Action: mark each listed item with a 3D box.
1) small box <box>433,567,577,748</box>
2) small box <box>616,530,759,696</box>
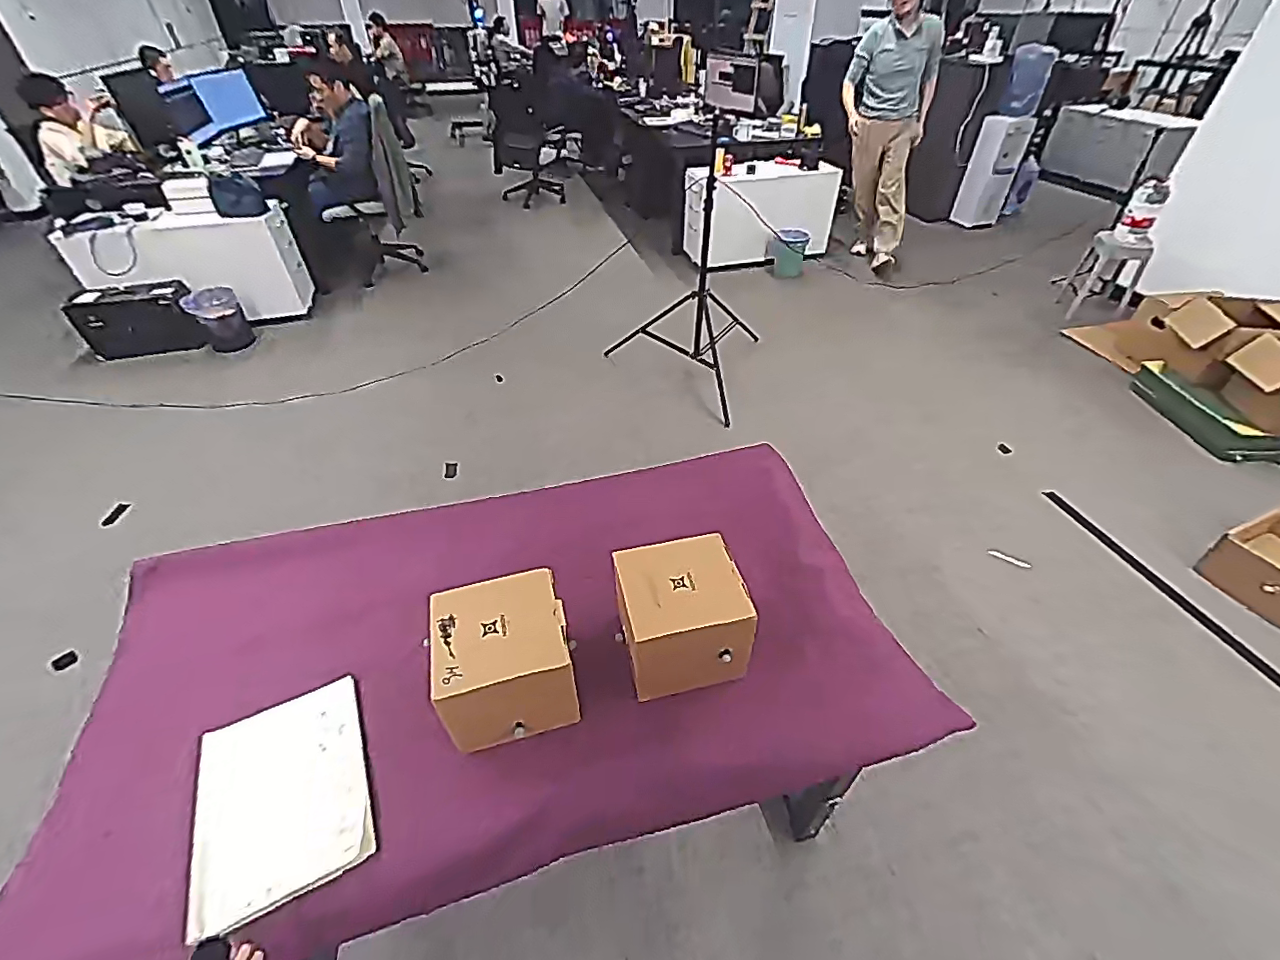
[{"bbox_3d":[-0.190,0.256,0.783,0.179,0.176,0.168,-11,42,-12],"label":"small box"},{"bbox_3d":[0.066,0.205,0.837,0.179,0.176,0.168,-11,41,-8],"label":"small box"}]
